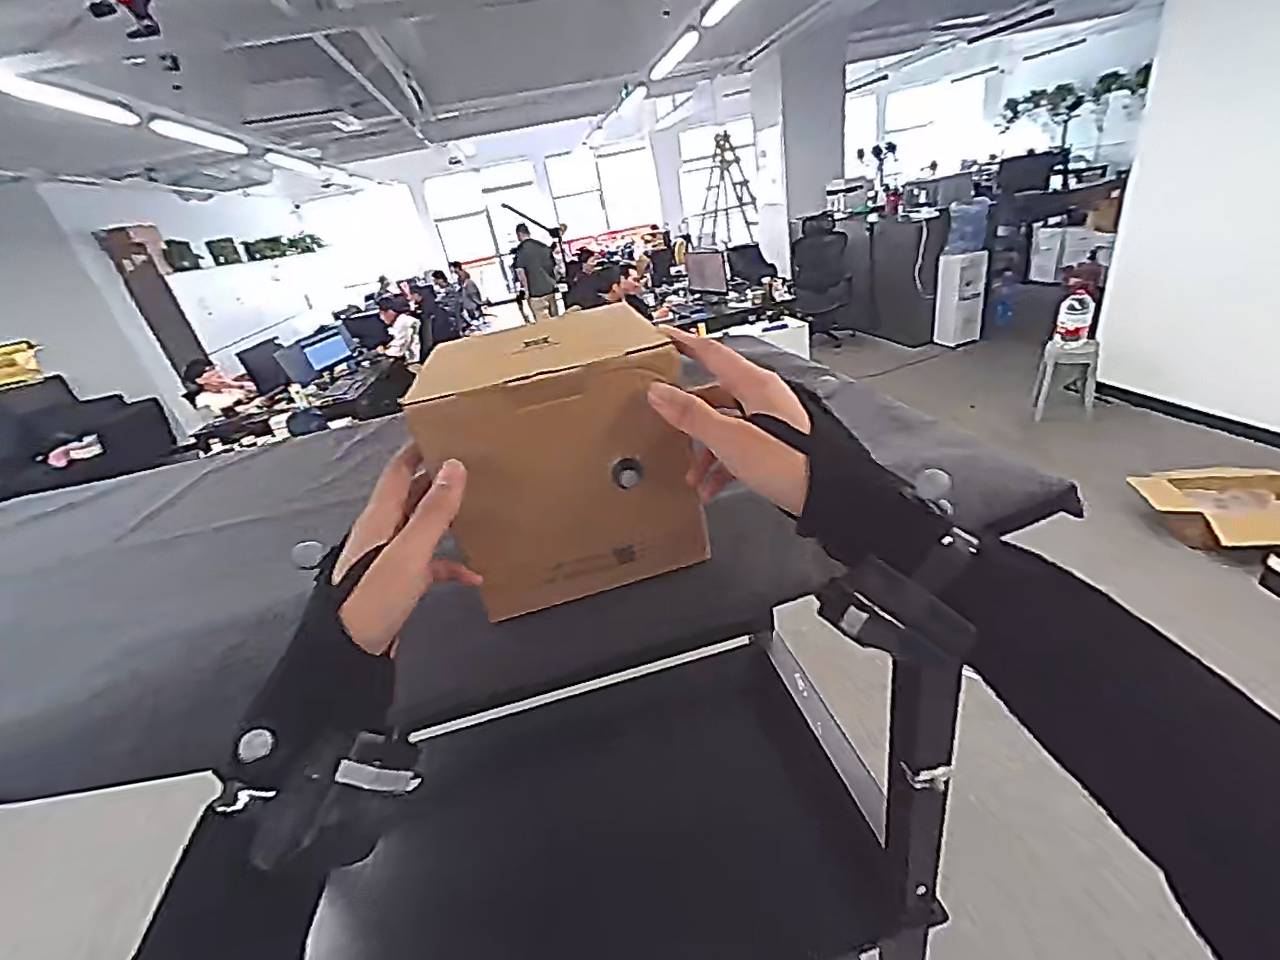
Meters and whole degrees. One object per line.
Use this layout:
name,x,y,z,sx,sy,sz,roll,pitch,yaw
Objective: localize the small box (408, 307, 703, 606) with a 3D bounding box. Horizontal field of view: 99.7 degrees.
small box,-0.058,-0.022,0.423,0.168,0.176,0.179,-14,27,-7
